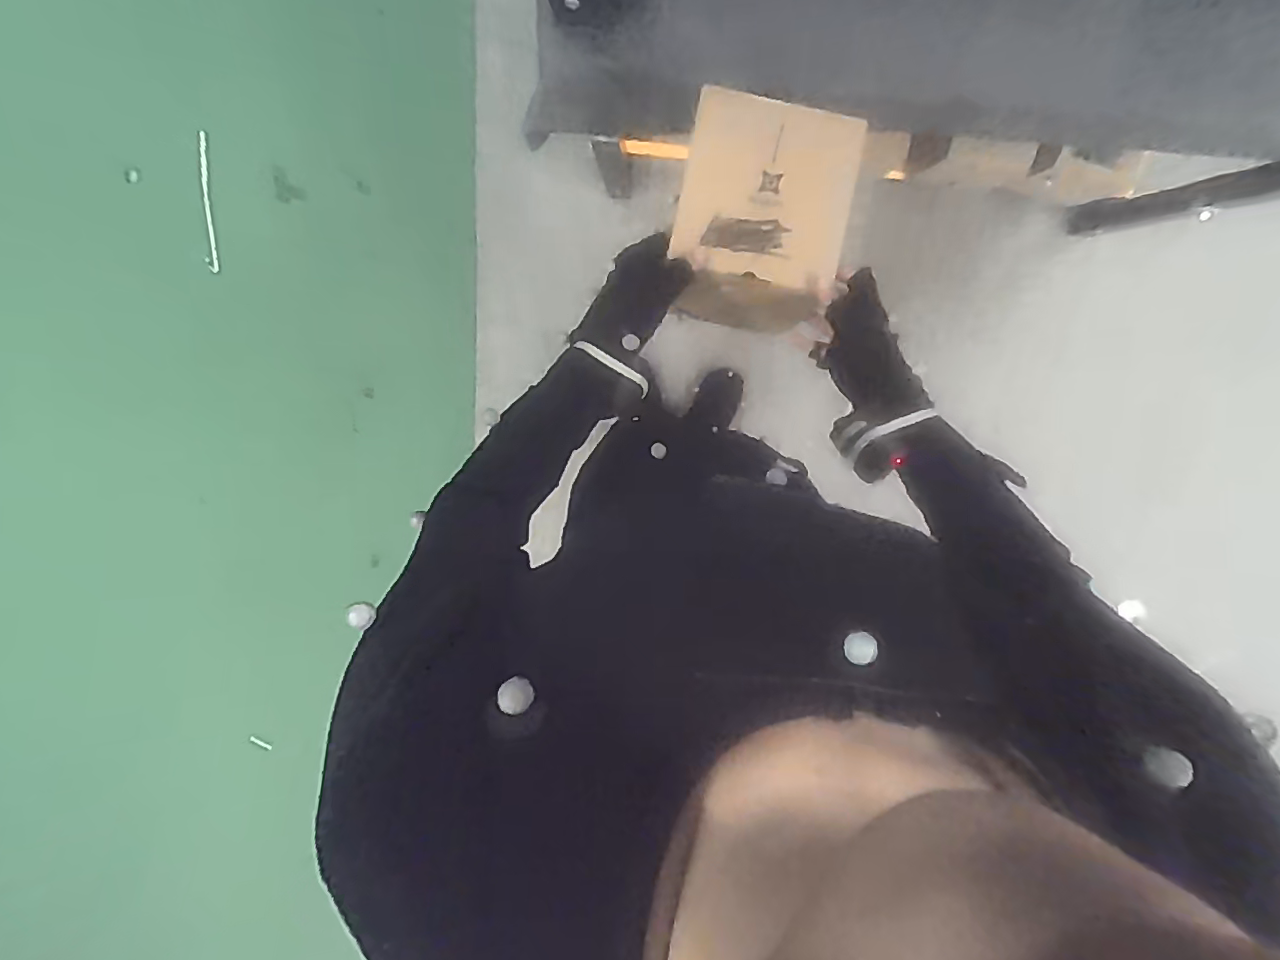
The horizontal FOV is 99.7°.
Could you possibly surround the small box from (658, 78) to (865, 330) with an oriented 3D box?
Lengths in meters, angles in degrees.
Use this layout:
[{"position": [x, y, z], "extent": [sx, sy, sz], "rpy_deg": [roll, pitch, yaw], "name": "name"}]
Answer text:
[{"position": [0.117, -0.282, 0.595], "extent": [0.168, 0.176, 0.179], "rpy_deg": [13, 91, -1], "name": "small box"}]
